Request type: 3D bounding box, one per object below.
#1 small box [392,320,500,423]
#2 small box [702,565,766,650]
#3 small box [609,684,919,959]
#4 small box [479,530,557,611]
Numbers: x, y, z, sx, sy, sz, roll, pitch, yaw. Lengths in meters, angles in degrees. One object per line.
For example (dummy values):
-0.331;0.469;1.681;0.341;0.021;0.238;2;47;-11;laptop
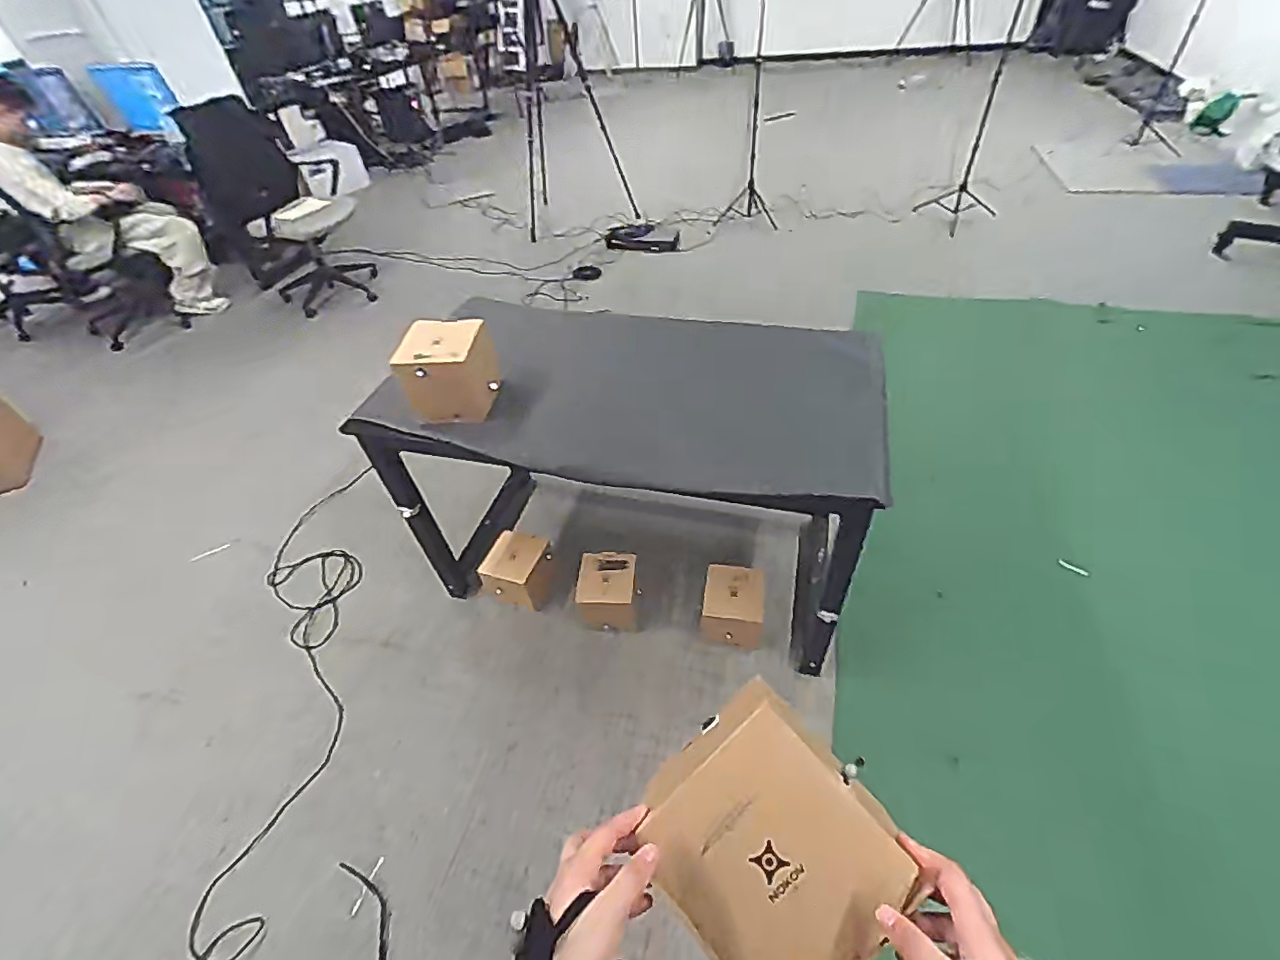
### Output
-0.434;-0.250;1.246;0.168;0.176;0.179;-1;45;6;small box
0.274;0.374;1.576;0.168;0.176;0.179;5;46;11;small box
0.103;0.312;0.490;0.168;0.176;0.179;-45;75;-2;small box
-0.383;0.292;1.735;0.168;0.176;0.179;11;47;17;small box
